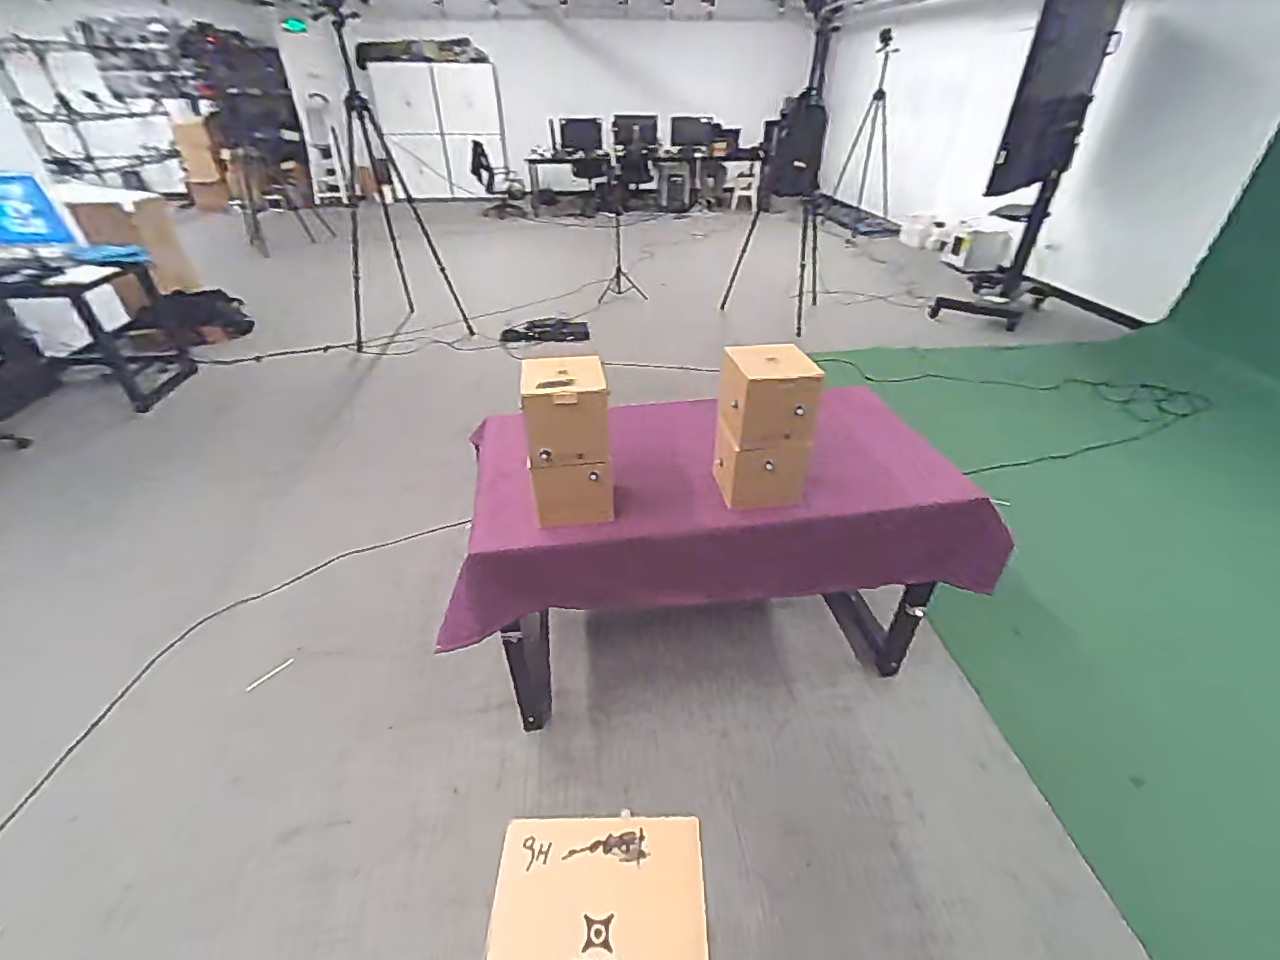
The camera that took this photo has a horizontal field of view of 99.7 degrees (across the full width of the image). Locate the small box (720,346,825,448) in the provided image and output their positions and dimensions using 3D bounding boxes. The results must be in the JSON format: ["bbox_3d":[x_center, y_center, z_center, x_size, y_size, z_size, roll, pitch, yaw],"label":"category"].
[{"bbox_3d":[0.282,-0.179,1.187,0.168,0.176,0.179,-5,35,-8],"label":"small box"}]

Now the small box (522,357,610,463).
[{"bbox_3d":[-0.153,-0.144,1.137,0.168,0.176,0.179,-4,34,-8],"label":"small box"}]

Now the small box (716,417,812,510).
[{"bbox_3d":[0.282,-0.043,1.277,0.179,0.176,0.168,-4,36,-5],"label":"small box"}]

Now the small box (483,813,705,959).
[{"bbox_3d":[-0.029,0.404,0.450,0.168,0.176,0.179,-2,39,2],"label":"small box"}]

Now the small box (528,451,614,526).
[{"bbox_3d":[-0.155,-0.009,1.230,0.179,0.176,0.168,-4,36,-8],"label":"small box"}]
